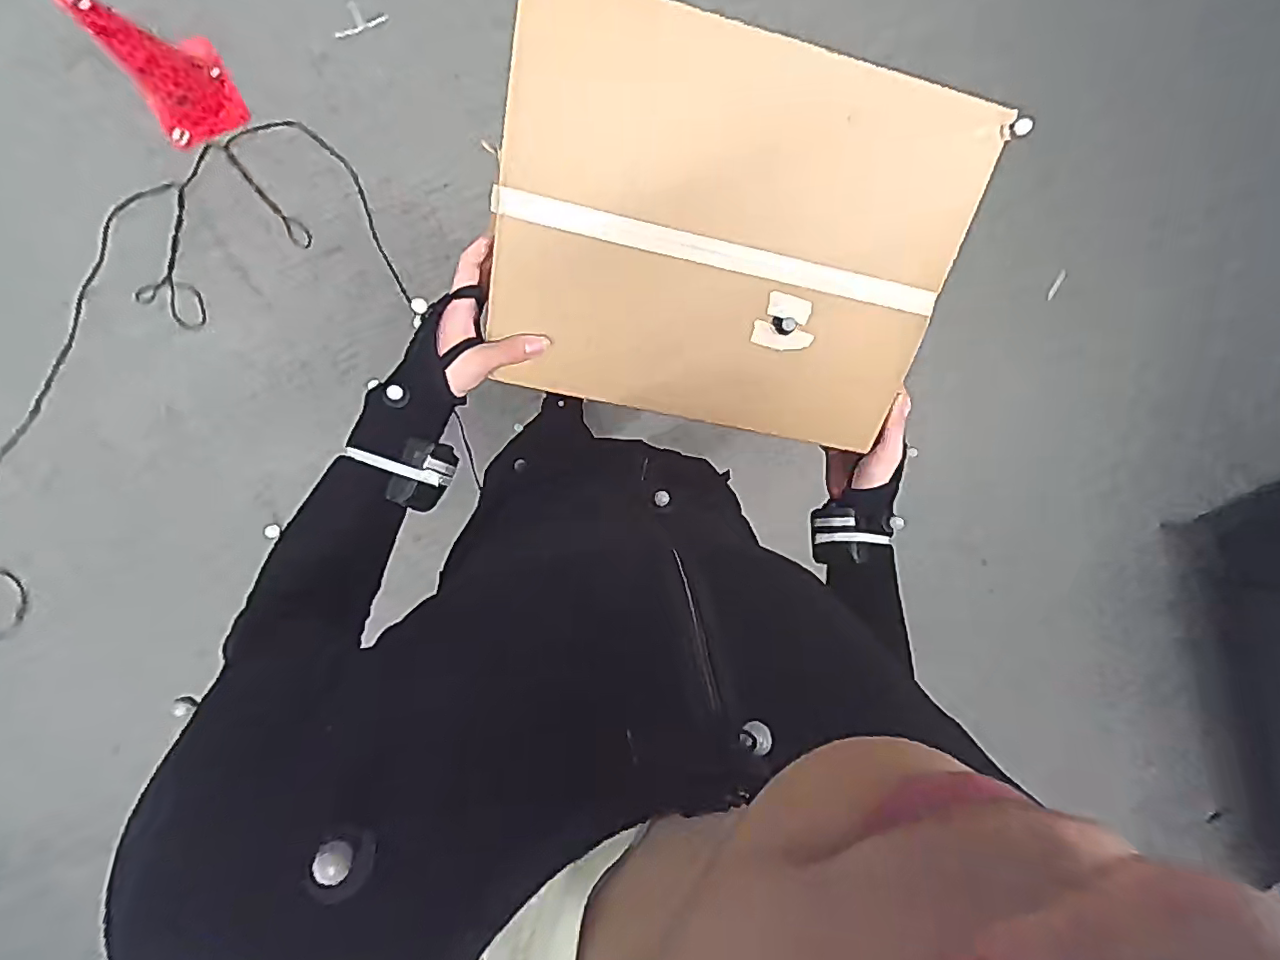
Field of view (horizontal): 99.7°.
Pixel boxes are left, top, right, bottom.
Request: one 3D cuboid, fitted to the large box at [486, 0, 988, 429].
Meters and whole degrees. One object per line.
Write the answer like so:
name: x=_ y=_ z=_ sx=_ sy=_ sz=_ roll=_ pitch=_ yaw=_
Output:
large box: x=0.058 y=-0.277 z=0.617 sx=0.408 sy=0.320 sz=0.320 roll=8 pitch=116 yaw=-9
